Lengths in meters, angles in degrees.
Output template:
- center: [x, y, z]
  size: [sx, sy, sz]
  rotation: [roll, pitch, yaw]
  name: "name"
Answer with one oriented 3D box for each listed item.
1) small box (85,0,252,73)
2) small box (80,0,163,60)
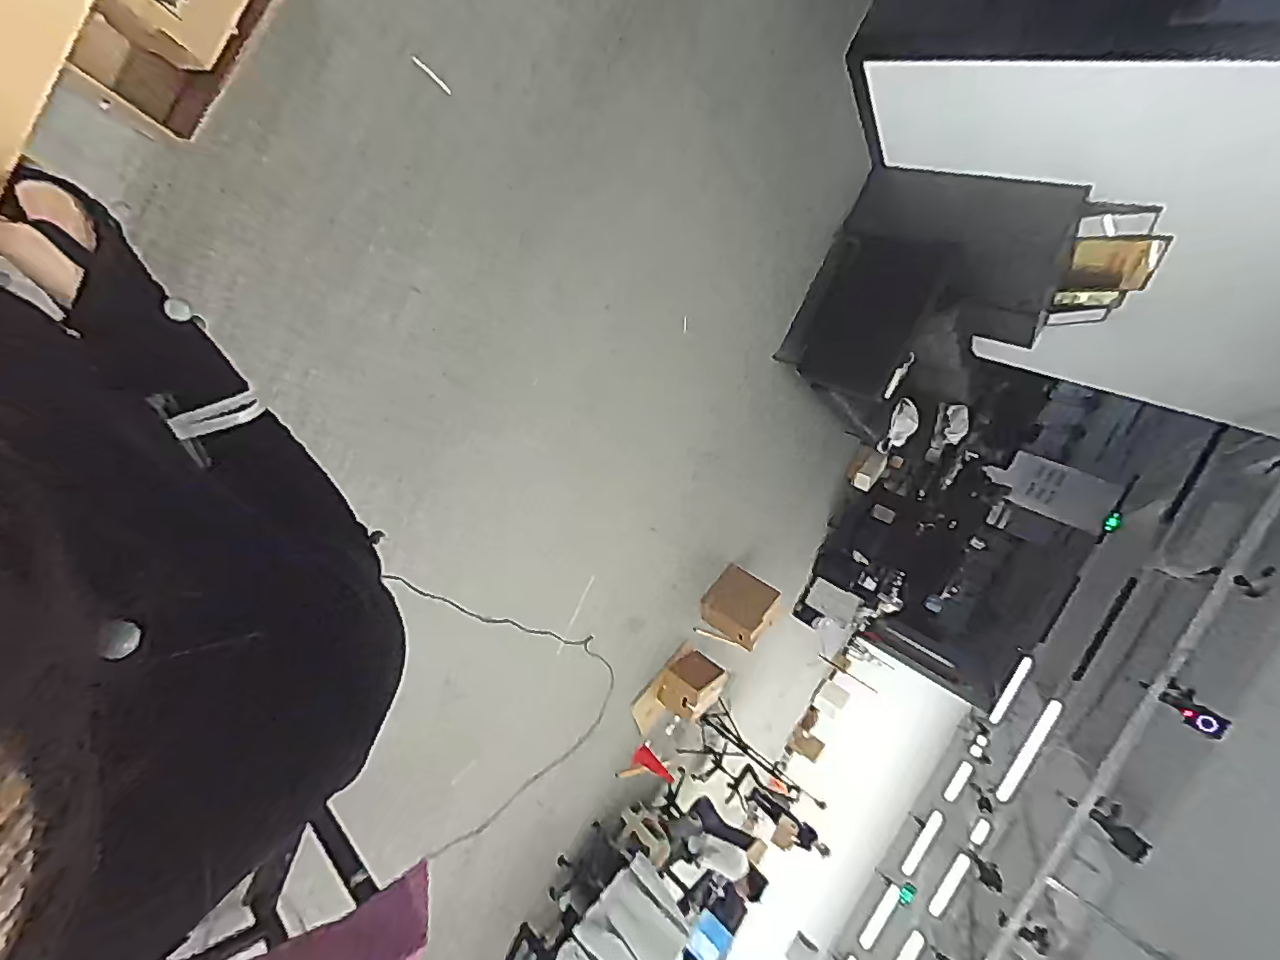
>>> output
- center: [-0.657, -0.696, 0.734]
  size: [0.168, 0.176, 0.179]
  rotation: [27, 92, -57]
  name: "small box"
- center: [-0.771, -0.778, 0.820]
  size: [0.168, 0.176, 0.179]
  rotation: [23, 96, -57]
  name: "small box"
